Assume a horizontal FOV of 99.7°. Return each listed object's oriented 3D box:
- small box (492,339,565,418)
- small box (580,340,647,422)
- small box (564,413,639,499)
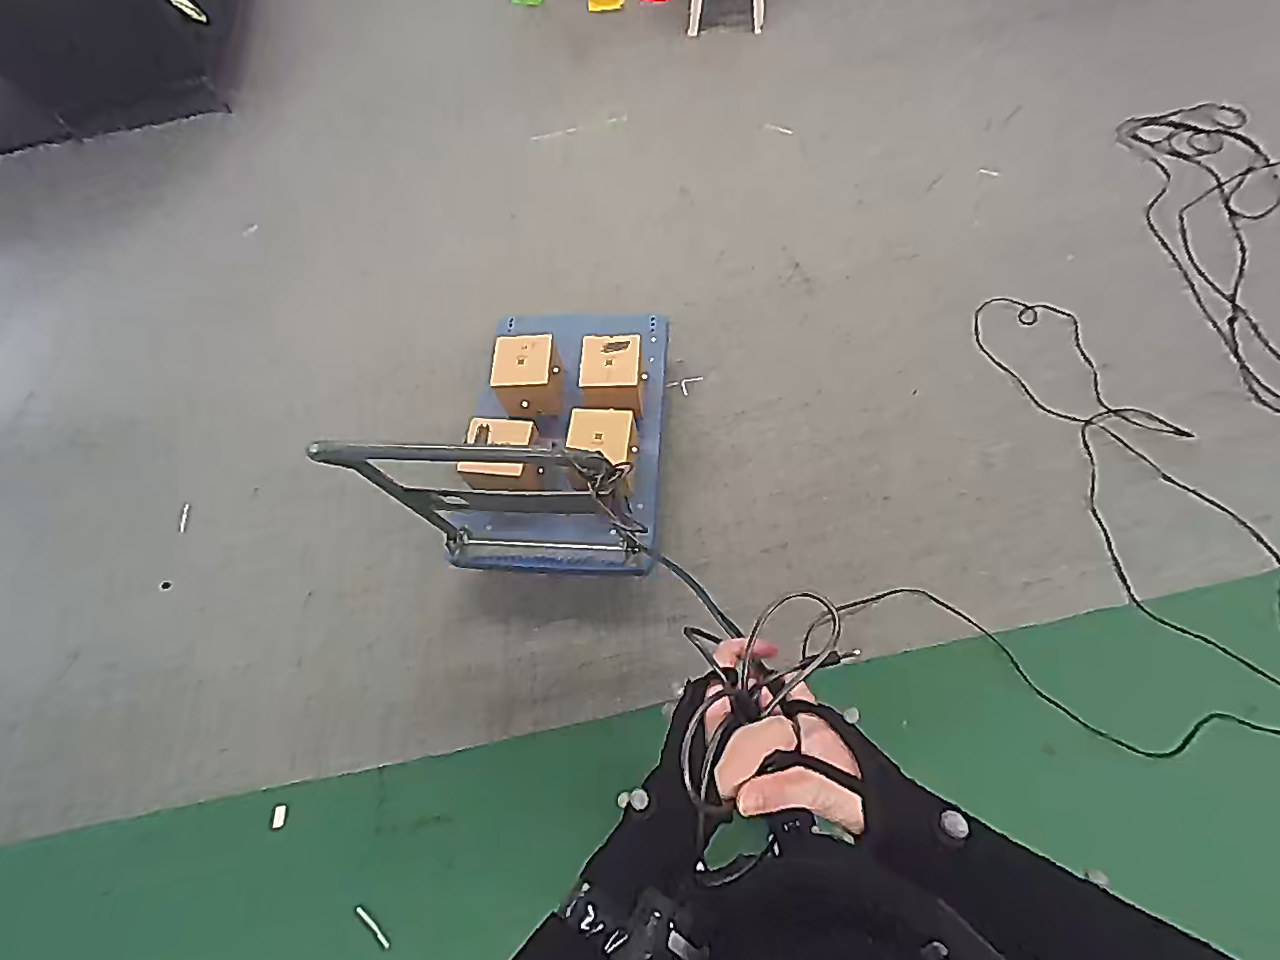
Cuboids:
[{"bbox_3d":[-0.325,-0.295,1.613,0.168,0.176,0.179,-1,65,5],"label":"small box"},{"bbox_3d":[-0.072,-0.288,1.581,0.168,0.176,0.179,0,66,7],"label":"small box"},{"bbox_3d":[-0.098,-0.064,1.480,0.168,0.176,0.179,3,66,8],"label":"small box"}]
